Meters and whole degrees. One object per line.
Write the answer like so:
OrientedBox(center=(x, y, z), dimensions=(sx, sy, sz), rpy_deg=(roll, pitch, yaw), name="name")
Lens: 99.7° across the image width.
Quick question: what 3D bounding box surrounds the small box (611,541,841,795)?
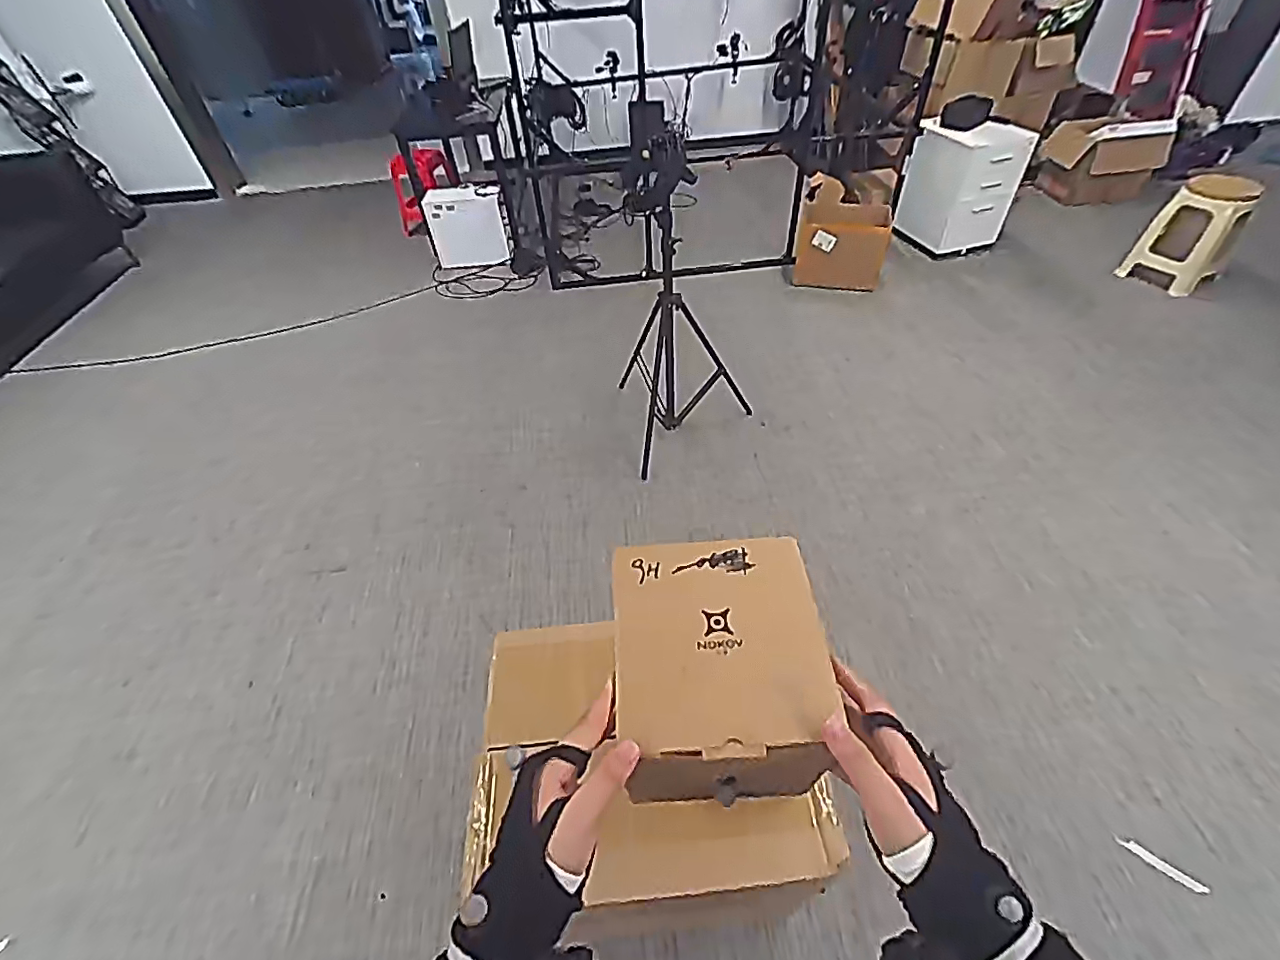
OrientedBox(center=(0.064, 0.177, 0.494), dimensions=(0.168, 0.176, 0.179), rpy_deg=(-4, 50, 0), name="small box")
